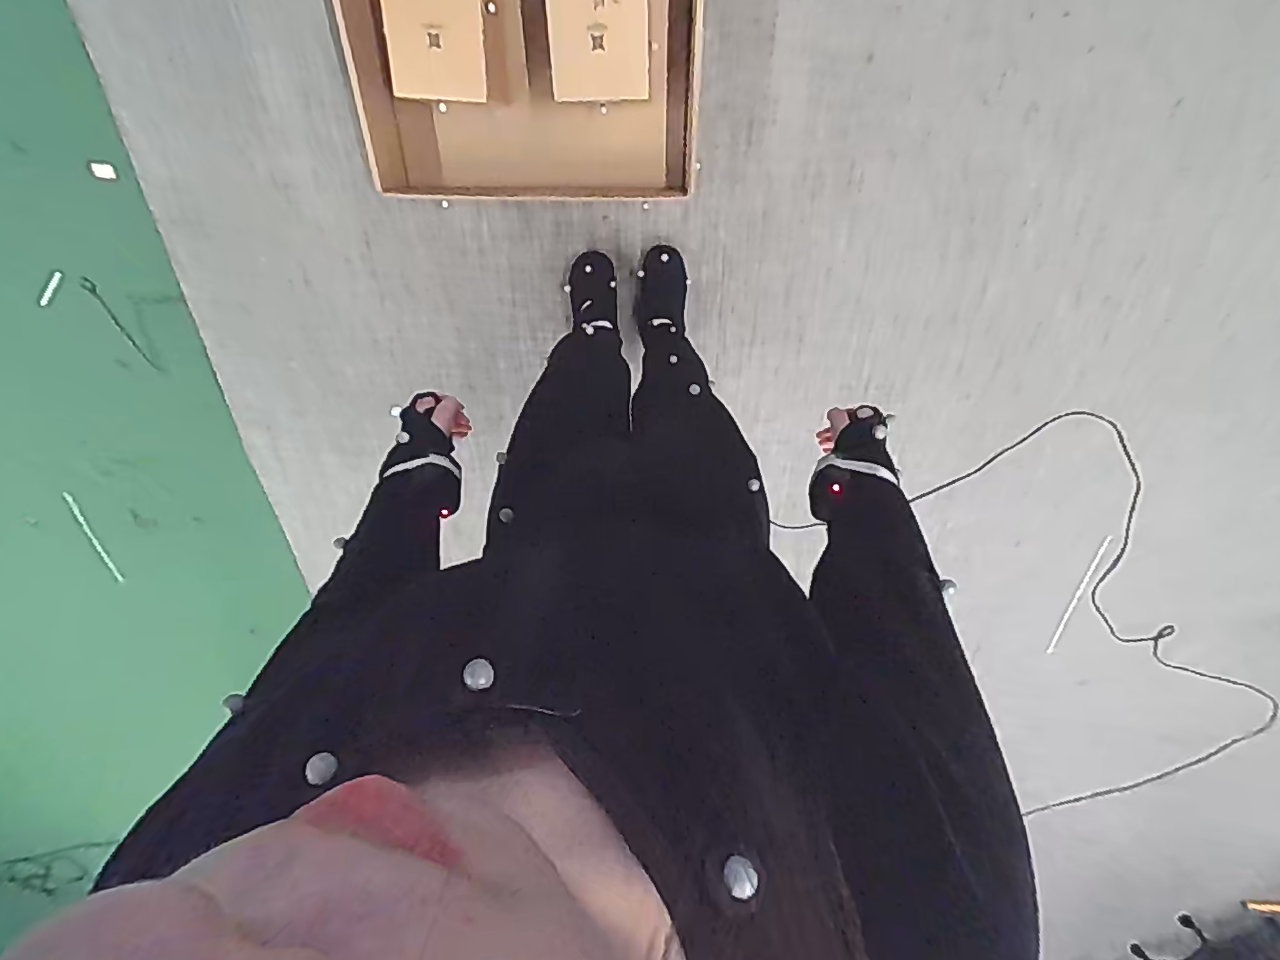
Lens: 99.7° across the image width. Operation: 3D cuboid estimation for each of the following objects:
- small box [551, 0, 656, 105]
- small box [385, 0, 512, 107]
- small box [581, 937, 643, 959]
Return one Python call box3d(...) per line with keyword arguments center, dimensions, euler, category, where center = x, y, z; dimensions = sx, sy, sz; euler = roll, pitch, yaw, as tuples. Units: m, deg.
box3d(center=(-0.057, -0.769, 0.952), dimensions=(0.168, 0.176, 0.179), euler=(1, 122, 2), category="small box")
box3d(center=(-0.331, -0.780, 0.964), dimensions=(0.168, 0.176, 0.179), euler=(4, 121, 0), category="small box")
box3d(center=(-0.076, 1.374, 1.457), dimensions=(0.168, 0.176, 0.179), euler=(-1, 120, 3), category="small box")
